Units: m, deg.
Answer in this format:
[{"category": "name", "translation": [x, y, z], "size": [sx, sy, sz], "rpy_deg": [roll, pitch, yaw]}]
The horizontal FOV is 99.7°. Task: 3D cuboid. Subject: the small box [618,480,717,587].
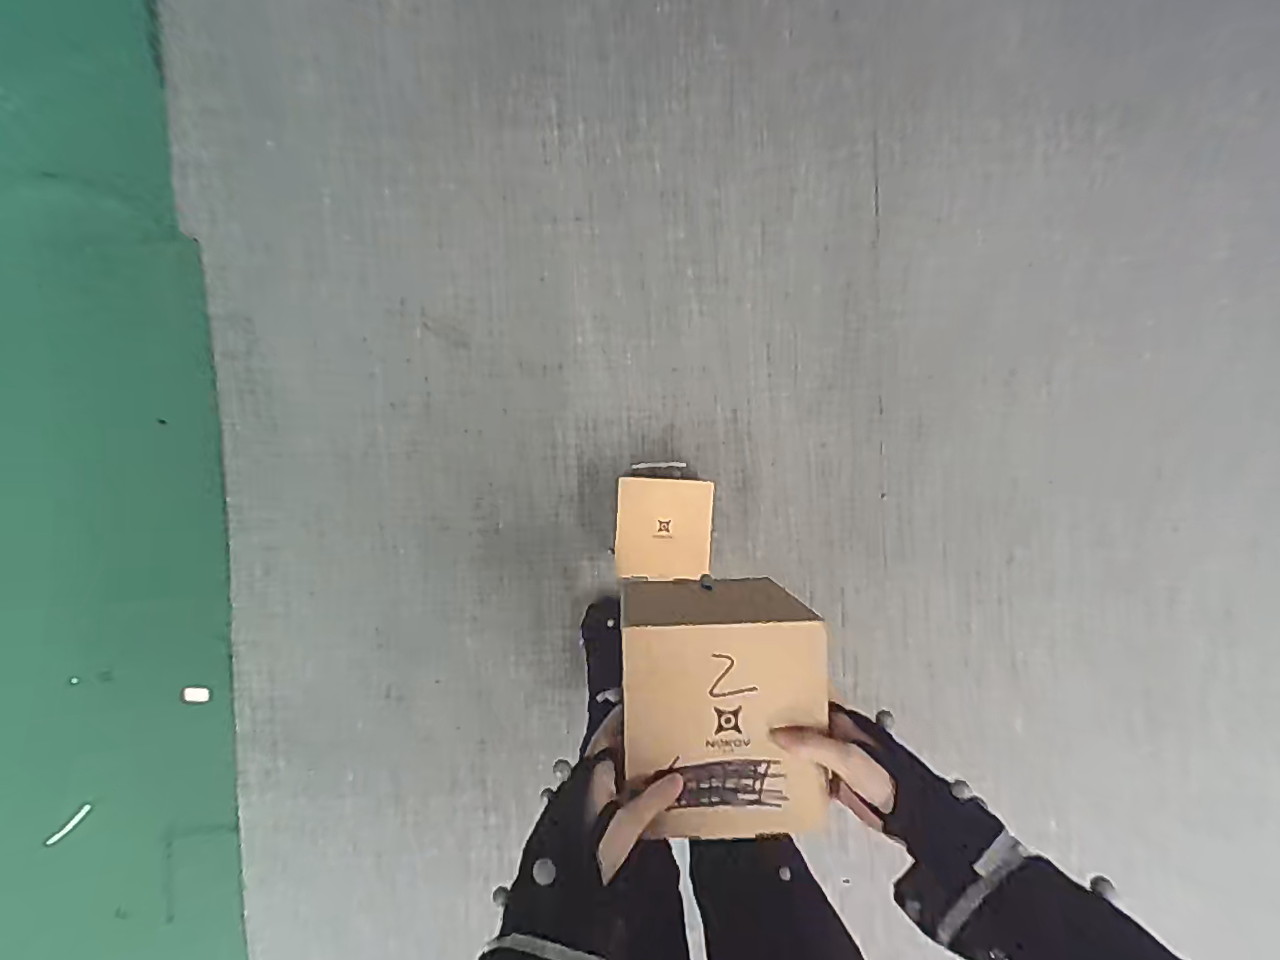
[{"category": "small box", "translation": [0.045, 0.092, 1.015], "size": [0.168, 0.176, 0.179], "rpy_deg": [4, 92, -1]}]
